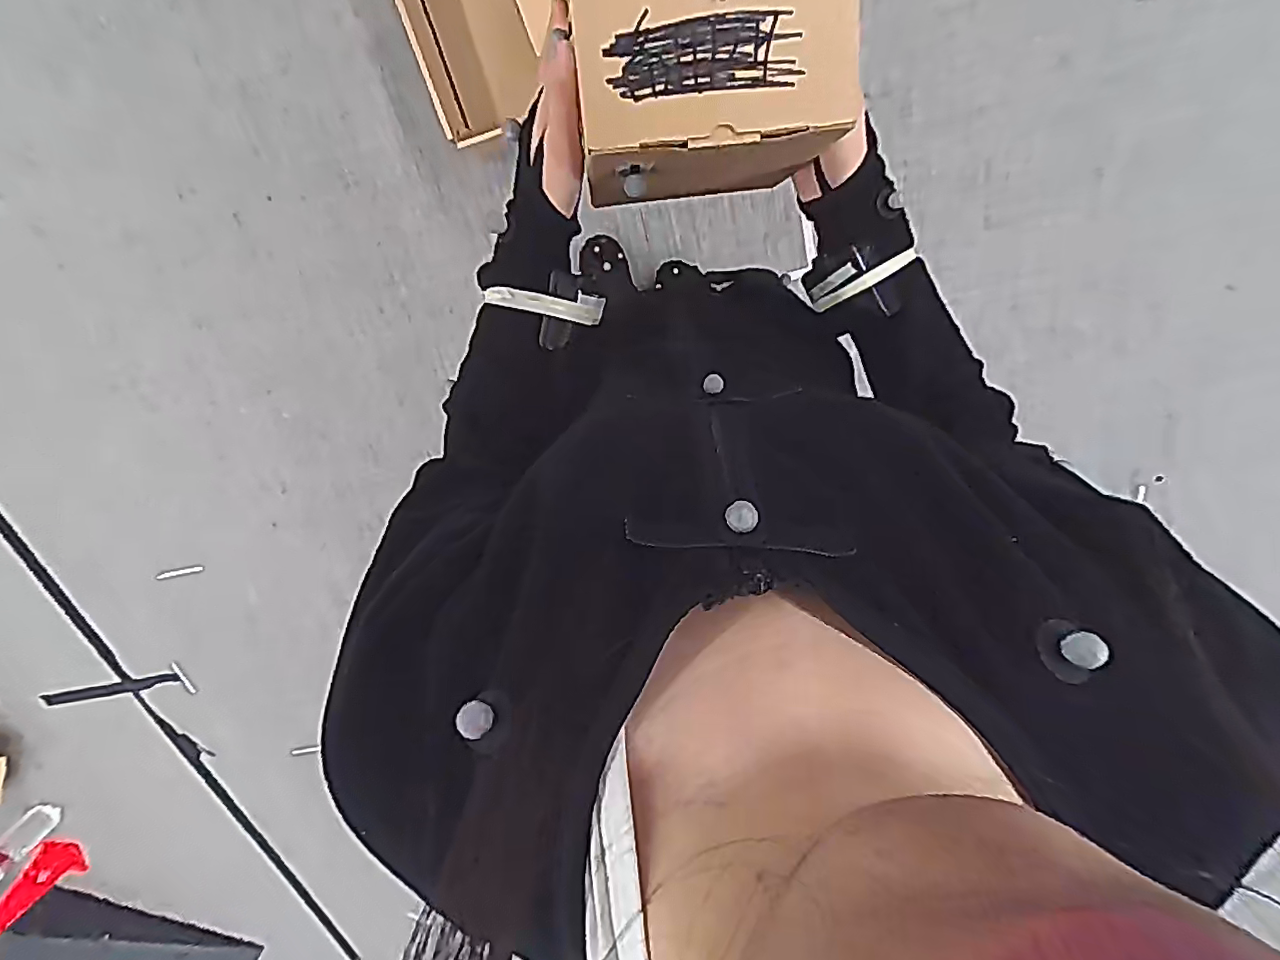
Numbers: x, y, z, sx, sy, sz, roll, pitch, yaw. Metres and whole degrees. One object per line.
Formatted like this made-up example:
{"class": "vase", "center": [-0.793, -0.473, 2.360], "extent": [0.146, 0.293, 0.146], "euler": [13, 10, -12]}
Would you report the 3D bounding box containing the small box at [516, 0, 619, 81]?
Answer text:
{"class": "small box", "center": [-0.146, -0.915, 1.037], "extent": [0.168, 0.176, 0.179], "euler": [-20, 113, 9]}
